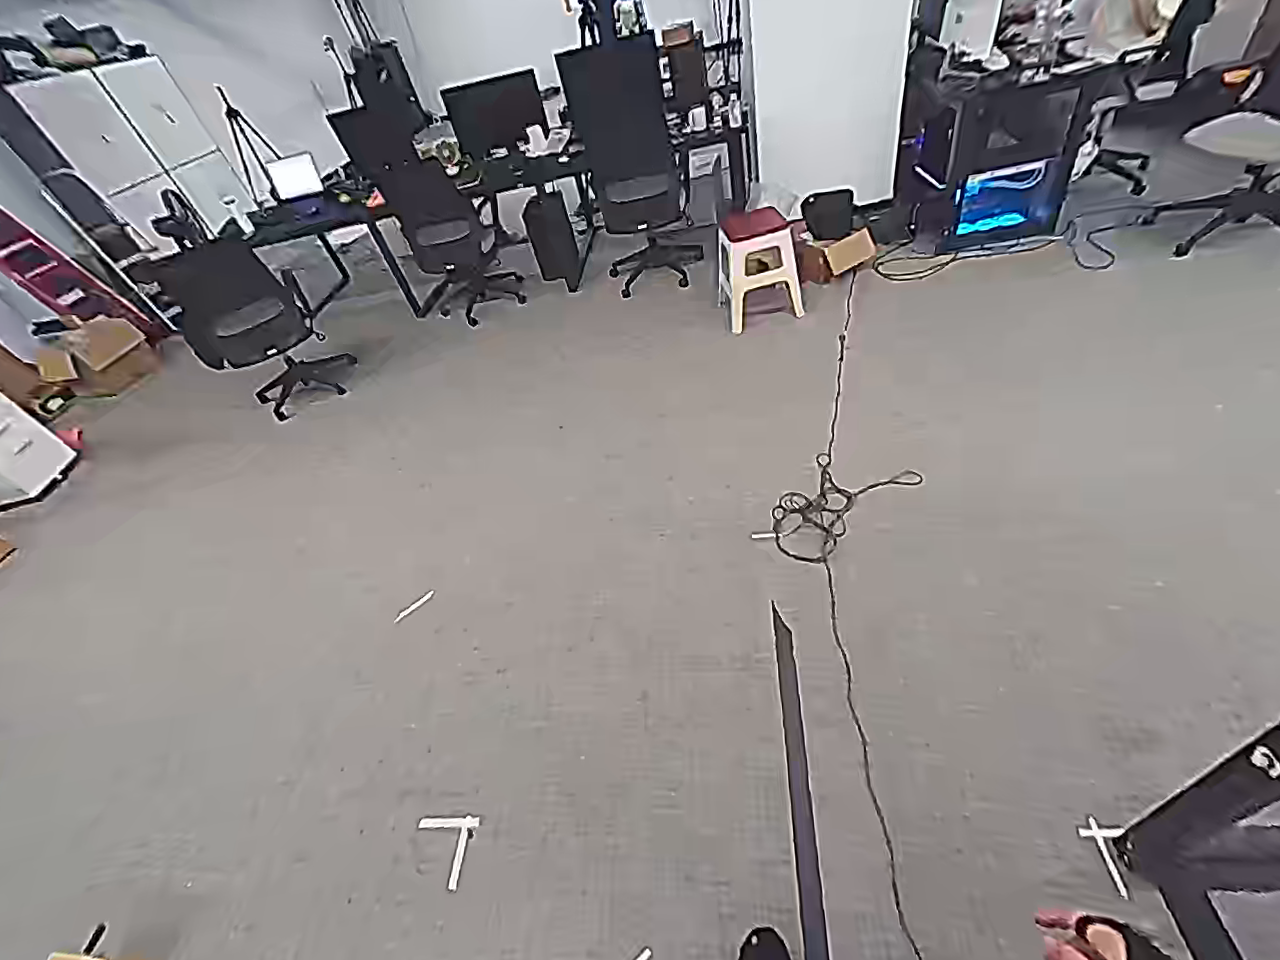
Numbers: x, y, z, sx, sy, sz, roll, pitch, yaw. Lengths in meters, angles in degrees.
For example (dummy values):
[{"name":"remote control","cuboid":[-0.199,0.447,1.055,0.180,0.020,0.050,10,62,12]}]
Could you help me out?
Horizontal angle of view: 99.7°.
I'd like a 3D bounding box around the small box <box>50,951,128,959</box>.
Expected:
[{"name":"small box","cuboid":[-1.287,1.220,1.253,0.179,0.176,0.168,-5,44,14]}]
